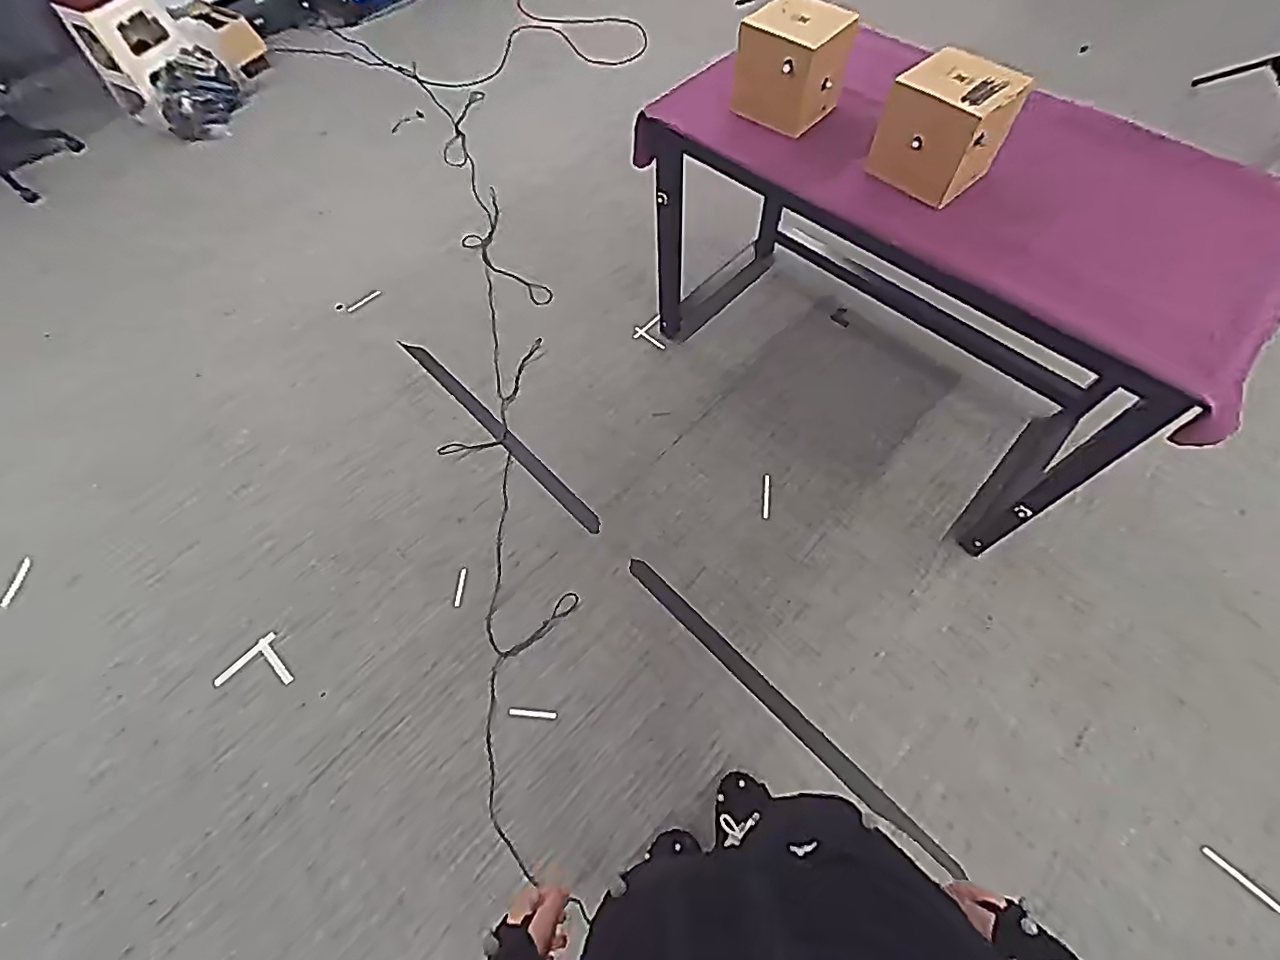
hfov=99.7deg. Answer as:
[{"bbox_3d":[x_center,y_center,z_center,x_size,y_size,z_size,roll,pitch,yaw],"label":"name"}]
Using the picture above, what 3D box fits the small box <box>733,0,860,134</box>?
[{"bbox_3d":[0.317,-0.861,1.129,0.179,0.176,0.168,38,69,20],"label":"small box"}]
